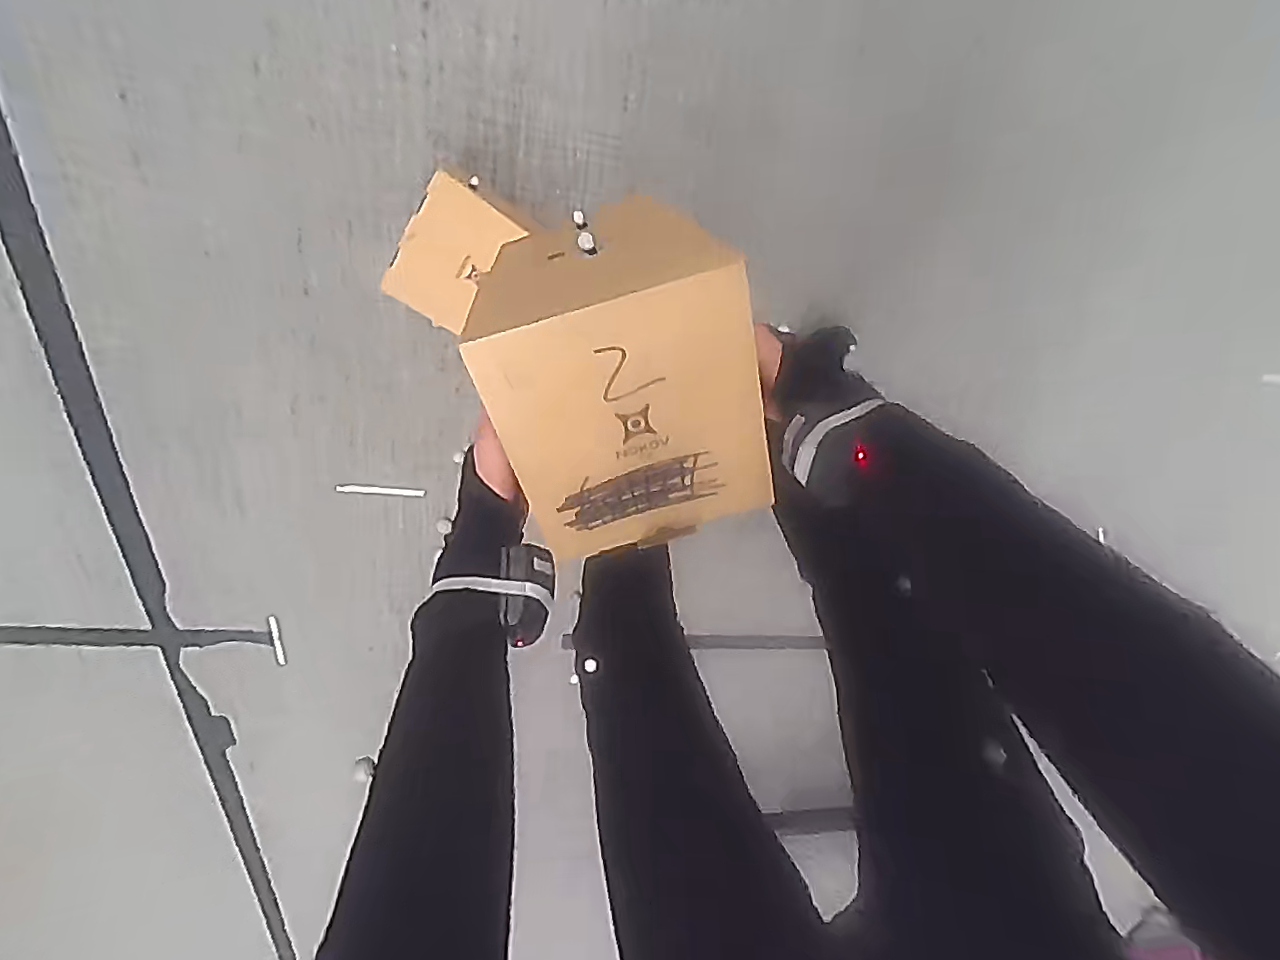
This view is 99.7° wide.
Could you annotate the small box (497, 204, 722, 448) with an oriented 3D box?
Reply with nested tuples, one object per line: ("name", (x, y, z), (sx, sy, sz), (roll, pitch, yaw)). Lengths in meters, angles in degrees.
("small box", (-0.031, -0.165, 0.547), (0.168, 0.176, 0.179), (-18, 123, 1))

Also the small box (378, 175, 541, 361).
("small box", (-0.229, -0.302, 0.757), (0.179, 0.176, 0.168), (29, 111, -25))
